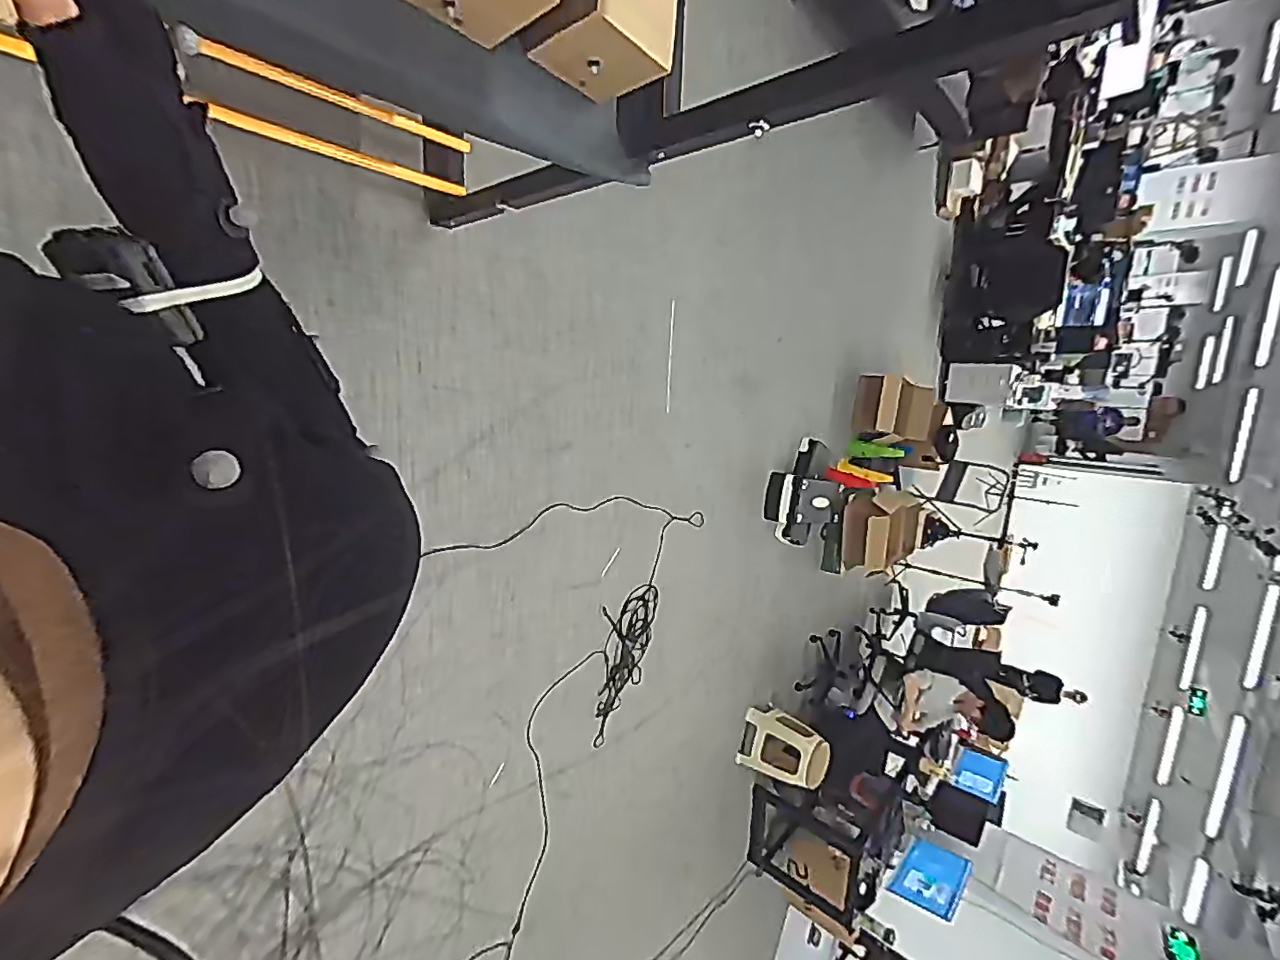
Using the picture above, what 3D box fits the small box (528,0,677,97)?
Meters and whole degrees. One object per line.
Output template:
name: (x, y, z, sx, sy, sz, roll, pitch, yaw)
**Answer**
small box: (-0.059, -0.744, 0.843, 0.168, 0.176, 0.179, -4, 101, -49)
